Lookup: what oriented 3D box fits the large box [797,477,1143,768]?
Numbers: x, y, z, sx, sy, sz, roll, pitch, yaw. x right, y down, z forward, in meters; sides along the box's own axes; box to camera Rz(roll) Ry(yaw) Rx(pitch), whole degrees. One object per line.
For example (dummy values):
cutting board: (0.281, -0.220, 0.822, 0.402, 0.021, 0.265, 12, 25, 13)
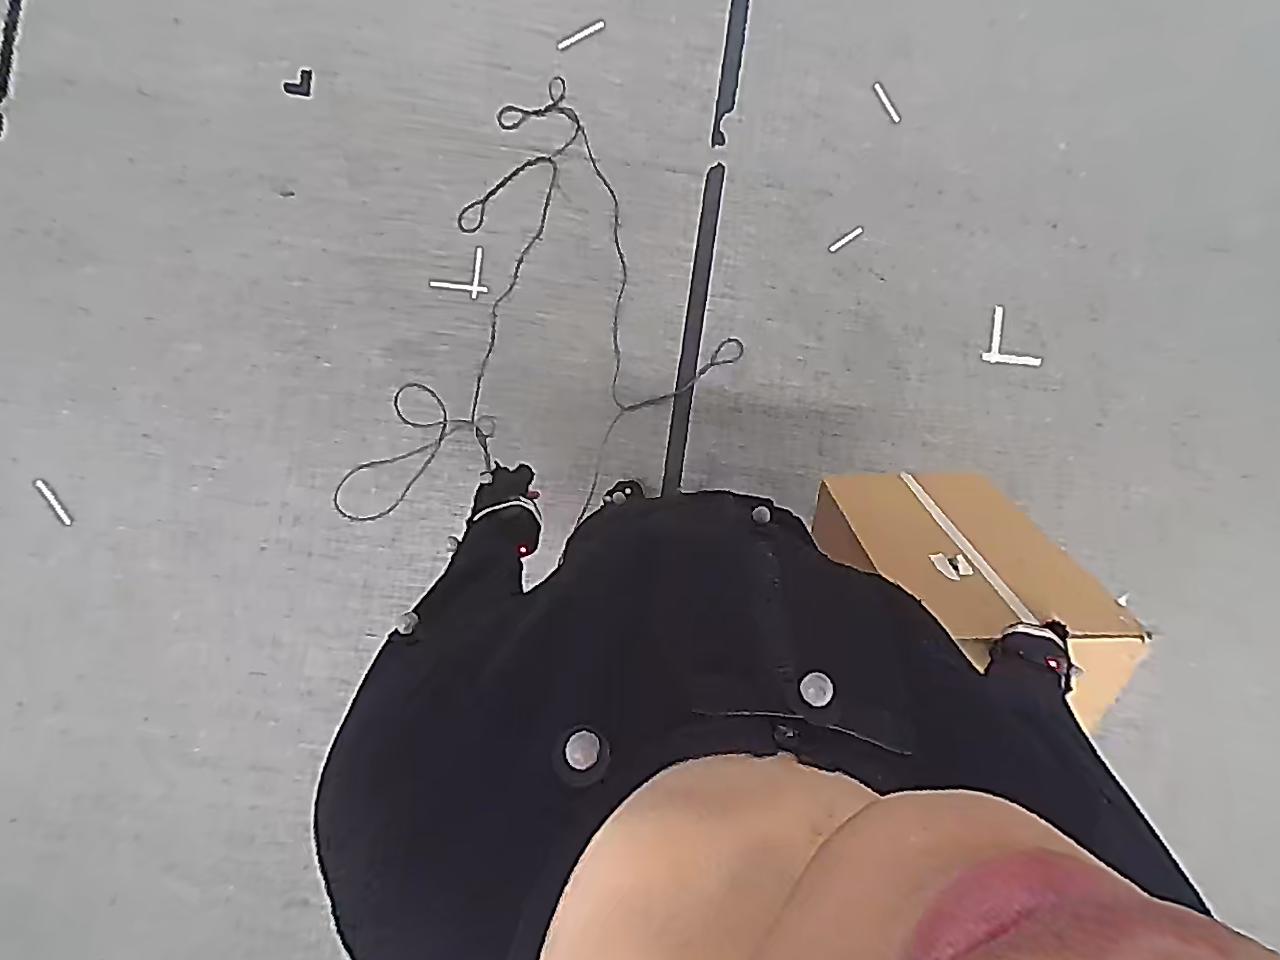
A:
large box: (0.508, 0.231, 0.958, 0.320, 0.408, 0.320, -1, 123, -2)
